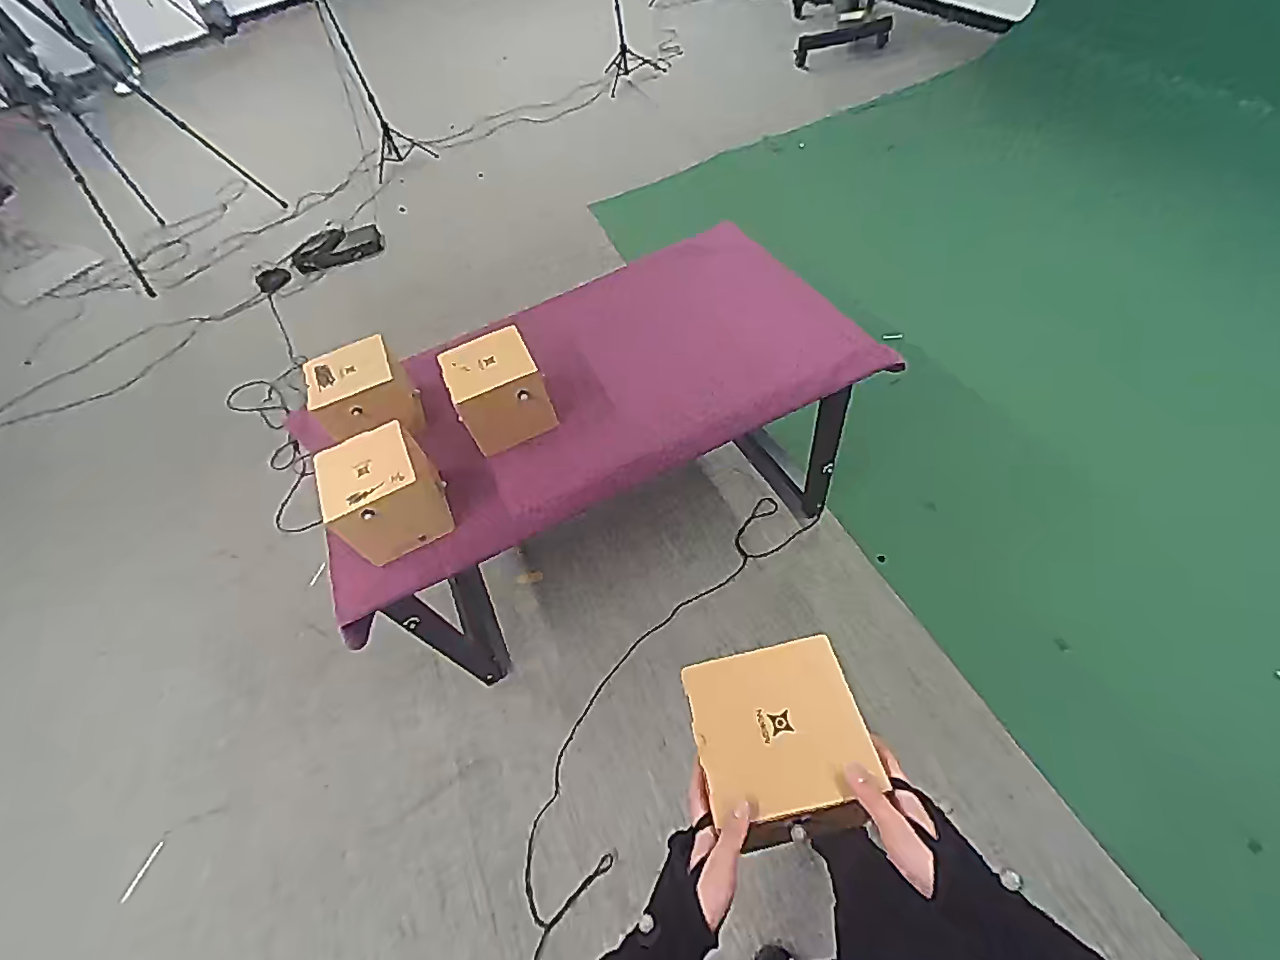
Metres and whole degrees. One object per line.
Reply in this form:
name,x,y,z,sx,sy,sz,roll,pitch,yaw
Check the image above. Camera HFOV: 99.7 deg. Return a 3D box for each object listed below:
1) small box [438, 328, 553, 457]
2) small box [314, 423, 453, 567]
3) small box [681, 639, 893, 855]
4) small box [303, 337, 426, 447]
small box,-0.295,-0.180,1.134,0.179,0.176,0.168,-24,54,-8
small box,-0.478,0.031,1.017,0.168,0.176,0.179,-27,54,-8
small box,0.157,0.310,0.622,0.179,0.176,0.168,-15,48,2
small box,-0.599,-0.174,1.184,0.179,0.176,0.168,-24,55,-9
